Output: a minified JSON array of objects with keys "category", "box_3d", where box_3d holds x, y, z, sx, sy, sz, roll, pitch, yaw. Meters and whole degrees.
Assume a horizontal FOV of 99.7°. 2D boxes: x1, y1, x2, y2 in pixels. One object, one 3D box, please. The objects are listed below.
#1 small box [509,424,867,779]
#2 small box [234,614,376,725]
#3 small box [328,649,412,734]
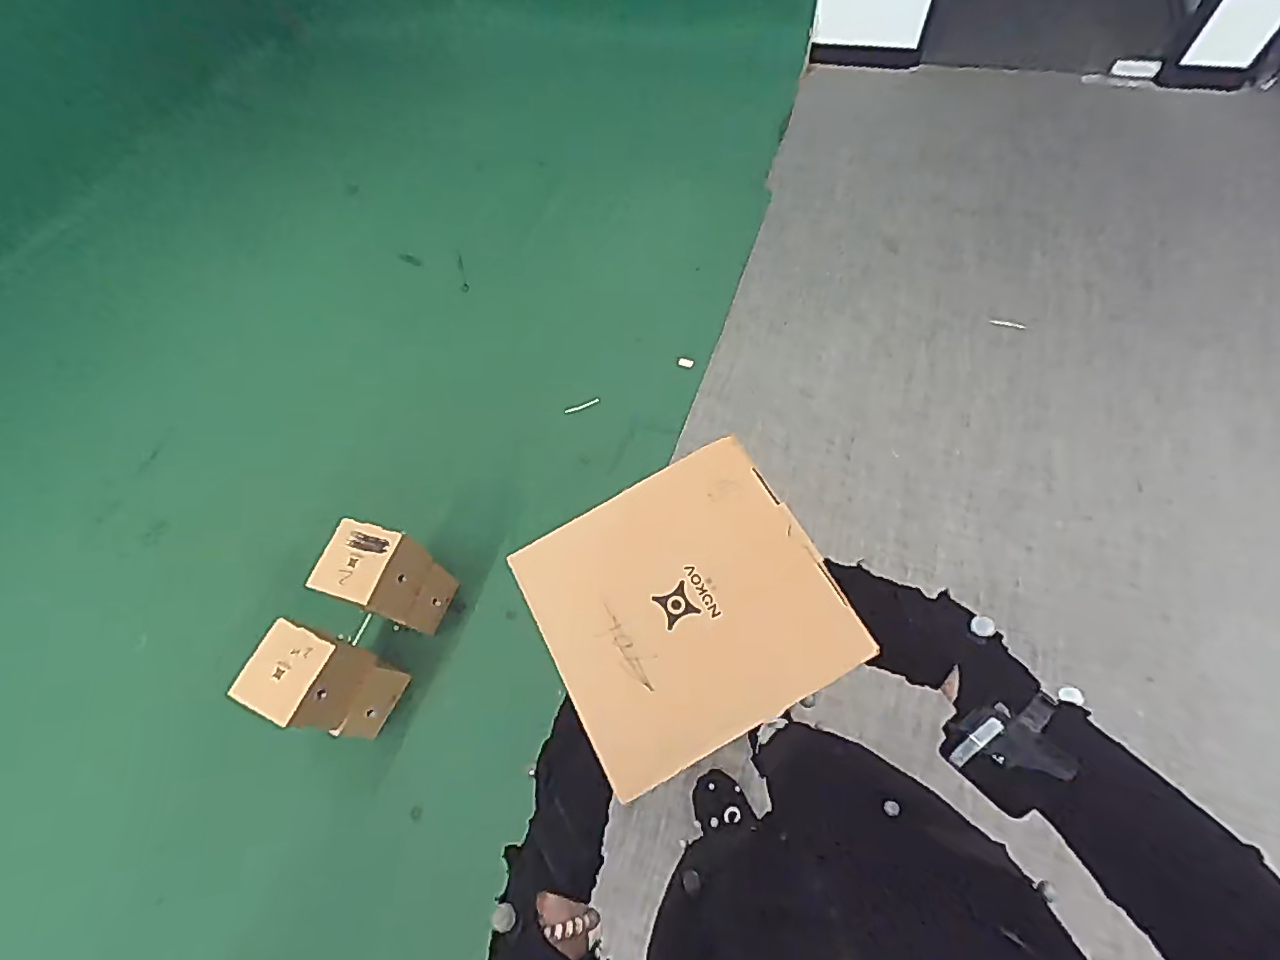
[{"category":"small box","box_3d":[0.031,0.091,0.414,0.179,0.176,0.168,-28,70,-3]},{"category":"small box","box_3d":[-0.733,0.429,1.207,0.168,0.176,0.179,19,67,16]},{"category":"small box","box_3d":[-0.709,0.514,1.347,0.179,0.176,0.168,20,67,17]}]
